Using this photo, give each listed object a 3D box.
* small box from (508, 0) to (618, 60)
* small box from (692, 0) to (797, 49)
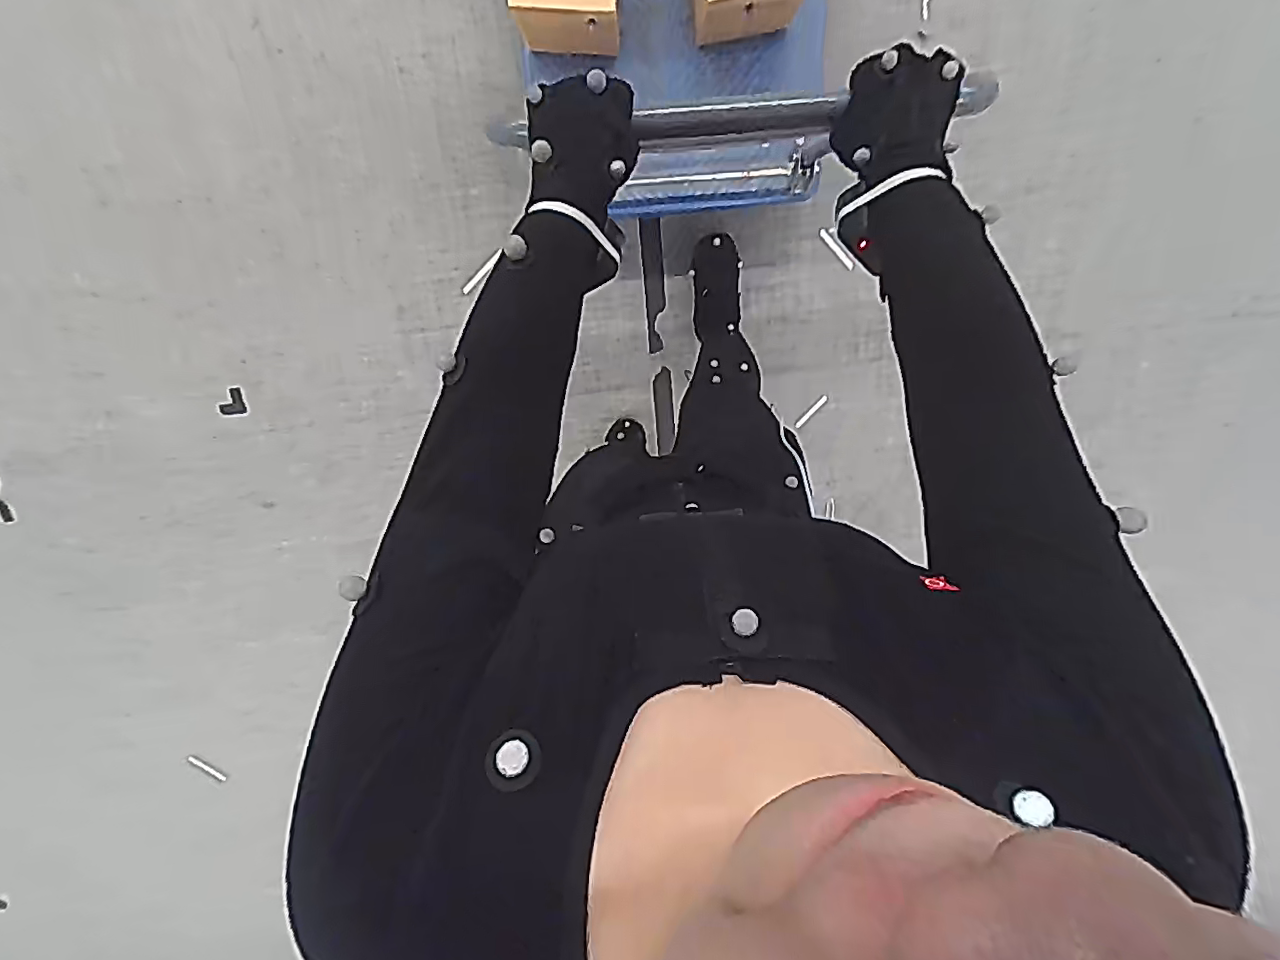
[{"bbox_3d":[-0.127,-0.859,0.935,0.179,0.176,0.168,1,109,-3],"label":"small box"},{"bbox_3d":[0.178,-0.883,0.929,0.179,0.176,0.168,-9,109,3],"label":"small box"}]
